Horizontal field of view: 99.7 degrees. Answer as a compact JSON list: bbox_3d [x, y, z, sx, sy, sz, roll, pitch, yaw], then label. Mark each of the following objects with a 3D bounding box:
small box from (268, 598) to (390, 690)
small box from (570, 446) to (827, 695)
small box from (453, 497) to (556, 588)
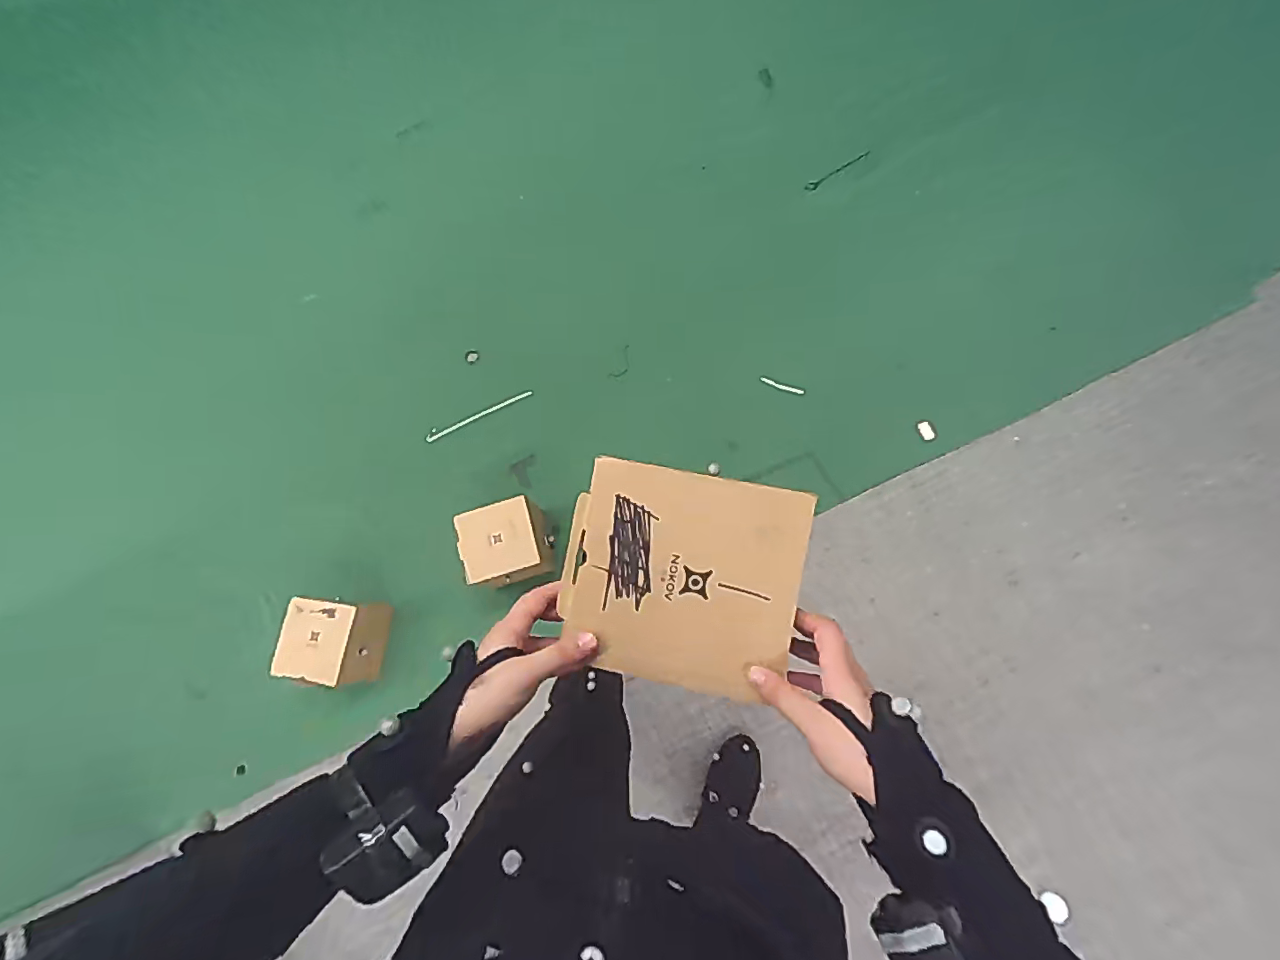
[{"bbox_3d":[-0.721,0.380,1.275,0.168,0.176,0.179,7,77,7],"label":"small box"},{"bbox_3d":[0.051,0.073,0.500,0.179,0.176,0.168,11,88,5],"label":"small box"},{"bbox_3d":[-0.320,0.157,1.299,0.179,0.176,0.168,-17,76,-1],"label":"small box"}]
